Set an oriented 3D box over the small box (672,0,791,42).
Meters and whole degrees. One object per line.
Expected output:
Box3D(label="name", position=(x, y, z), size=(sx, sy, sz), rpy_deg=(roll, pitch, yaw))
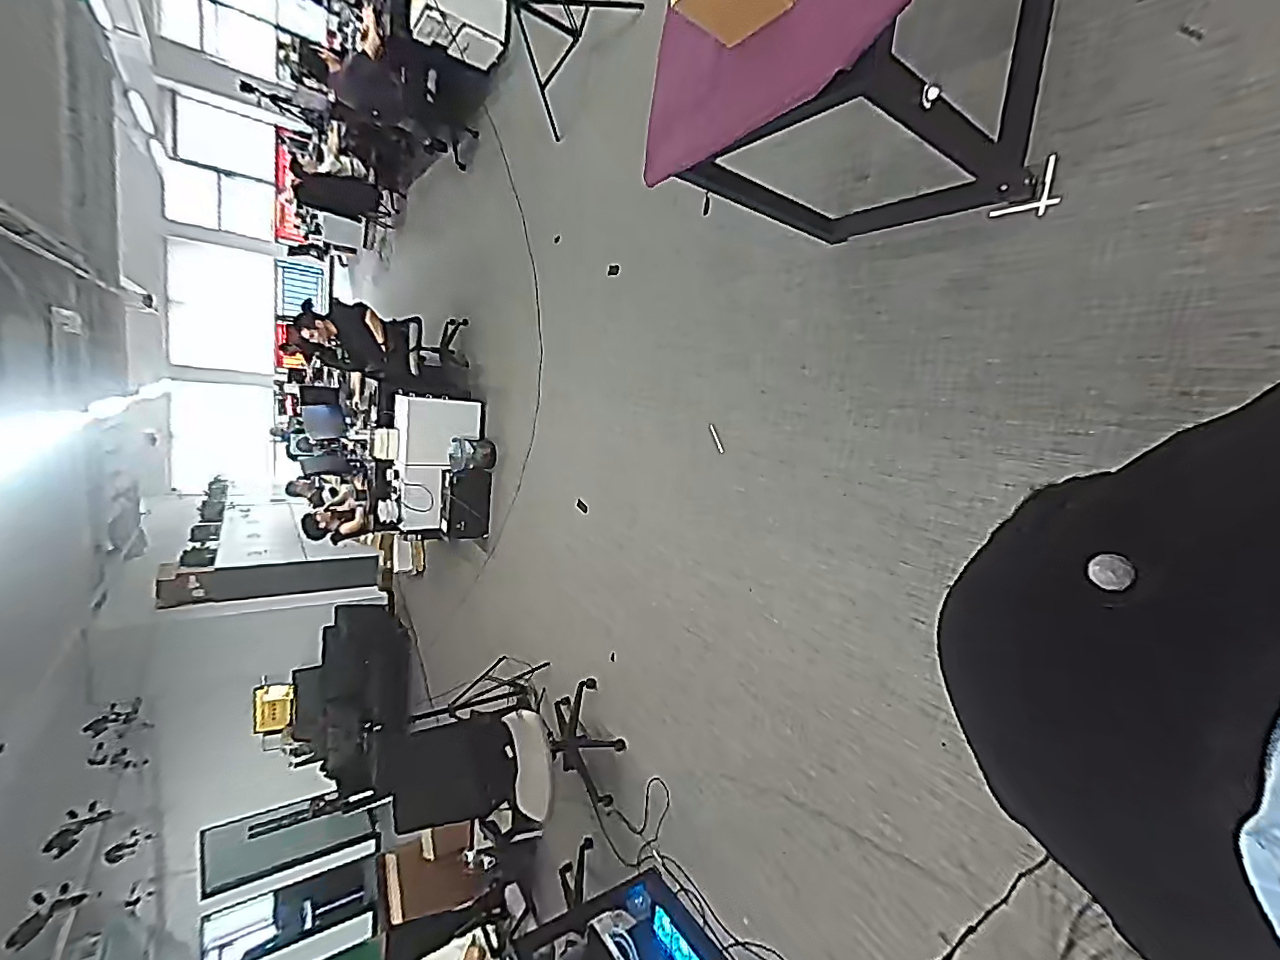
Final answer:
Box3D(label="small box", position=(0.185, -0.980, 1.012), size=(0.179, 0.176, 0.168), rpy_deg=(13, 100, 52))
